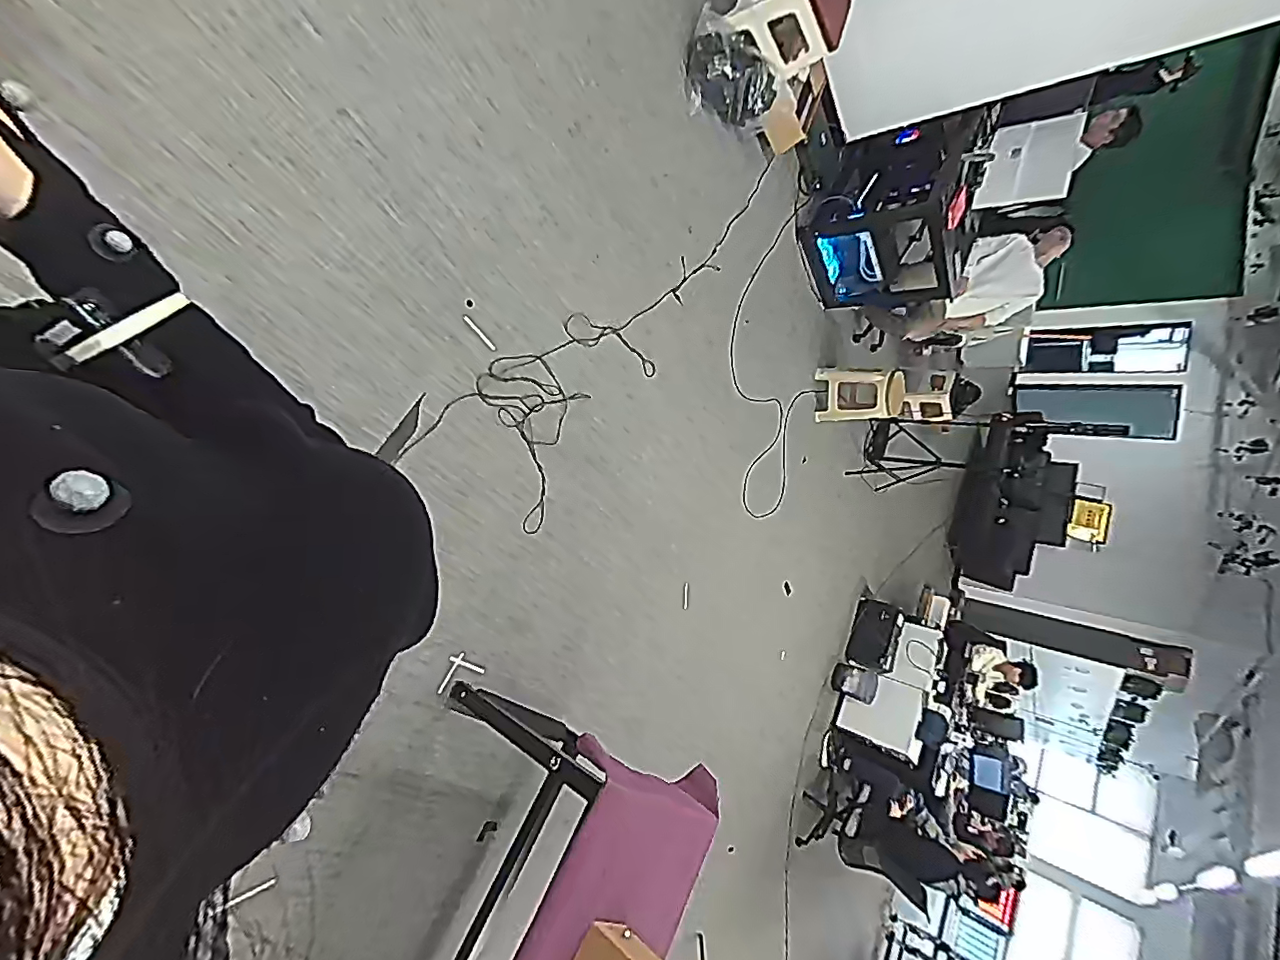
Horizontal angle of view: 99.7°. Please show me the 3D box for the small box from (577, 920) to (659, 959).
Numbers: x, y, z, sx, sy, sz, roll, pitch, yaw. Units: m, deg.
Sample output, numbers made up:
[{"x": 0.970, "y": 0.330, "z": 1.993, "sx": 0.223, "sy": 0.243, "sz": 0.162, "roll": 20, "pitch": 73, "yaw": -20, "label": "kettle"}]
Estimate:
[{"x": -0.054, "y": 1.162, "z": 1.236, "sx": 0.179, "sy": 0.176, "sz": 0.168, "roll": -59, "pitch": 135, "yaw": -23, "label": "small box"}]
